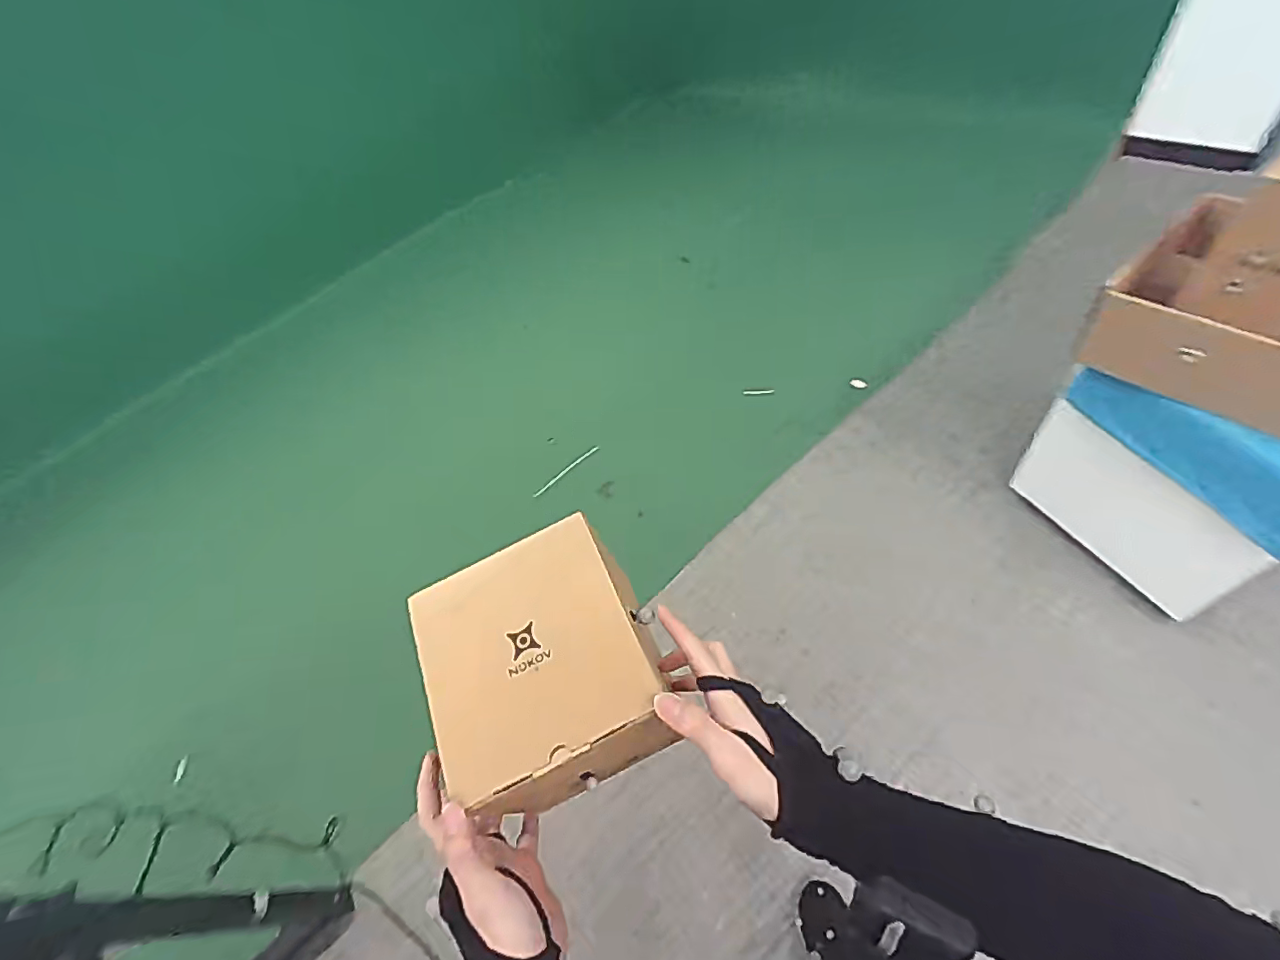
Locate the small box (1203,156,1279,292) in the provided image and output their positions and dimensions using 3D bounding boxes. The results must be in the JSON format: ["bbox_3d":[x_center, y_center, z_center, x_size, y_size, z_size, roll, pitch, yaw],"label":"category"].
[{"bbox_3d":[1.124,-0.445,0.910,0.179,0.176,0.168,-38,54,-14],"label":"small box"}]

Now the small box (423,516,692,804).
[{"bbox_3d":[-0.066,0.168,0.488,0.168,0.176,0.179,-26,58,-2],"label":"small box"}]
